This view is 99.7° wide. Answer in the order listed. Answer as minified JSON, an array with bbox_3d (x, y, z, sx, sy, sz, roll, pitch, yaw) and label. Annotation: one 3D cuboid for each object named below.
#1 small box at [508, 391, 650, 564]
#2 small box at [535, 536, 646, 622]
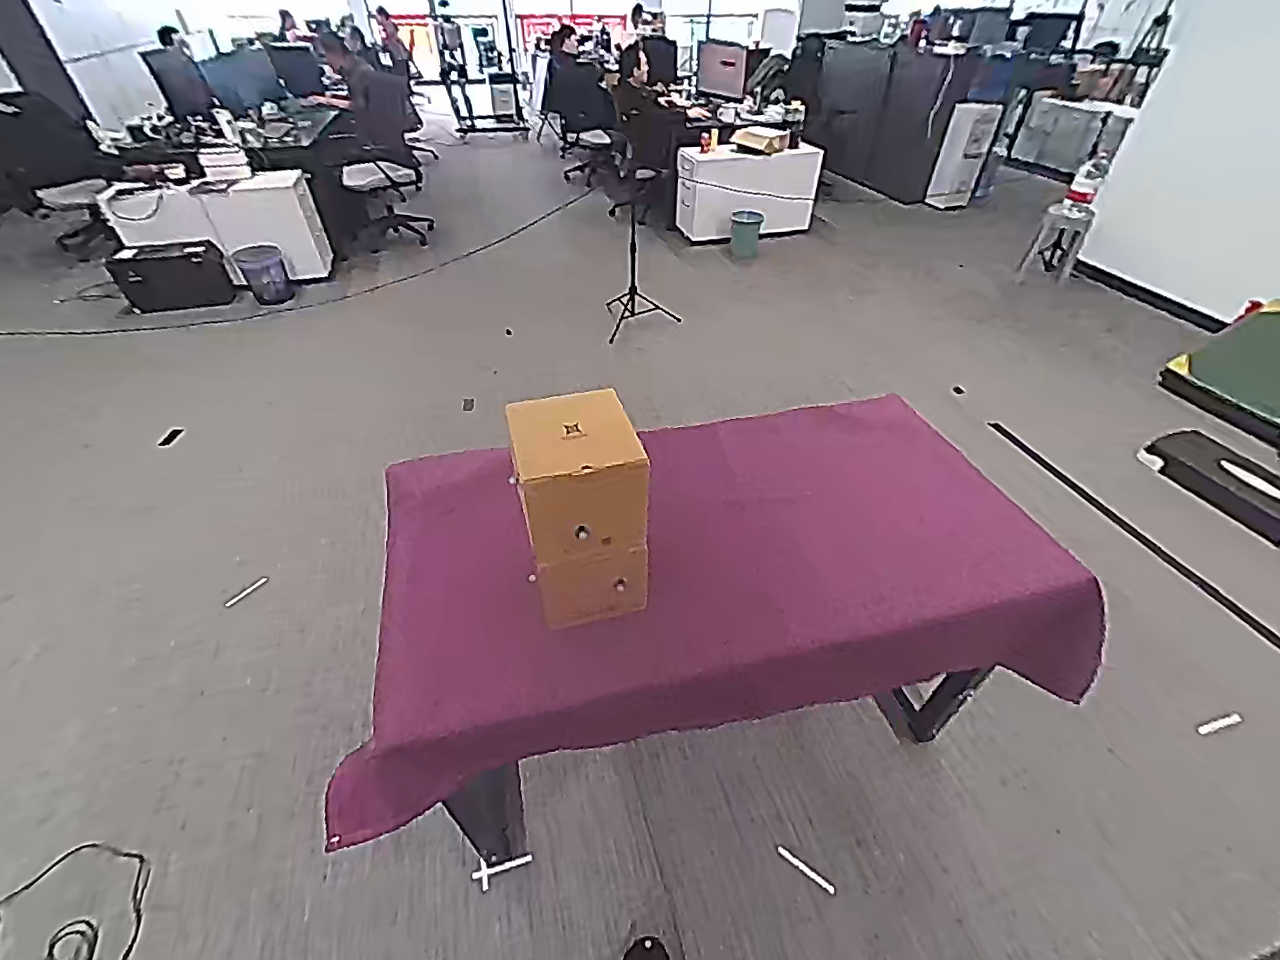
[{"bbox_3d":[-0.092,-0.006,0.794,0.168,0.176,0.179,-11,45,-14],"label":"small box"},{"bbox_3d":[-0.089,0.117,0.900,0.168,0.176,0.179,-10,43,-12],"label":"small box"}]
